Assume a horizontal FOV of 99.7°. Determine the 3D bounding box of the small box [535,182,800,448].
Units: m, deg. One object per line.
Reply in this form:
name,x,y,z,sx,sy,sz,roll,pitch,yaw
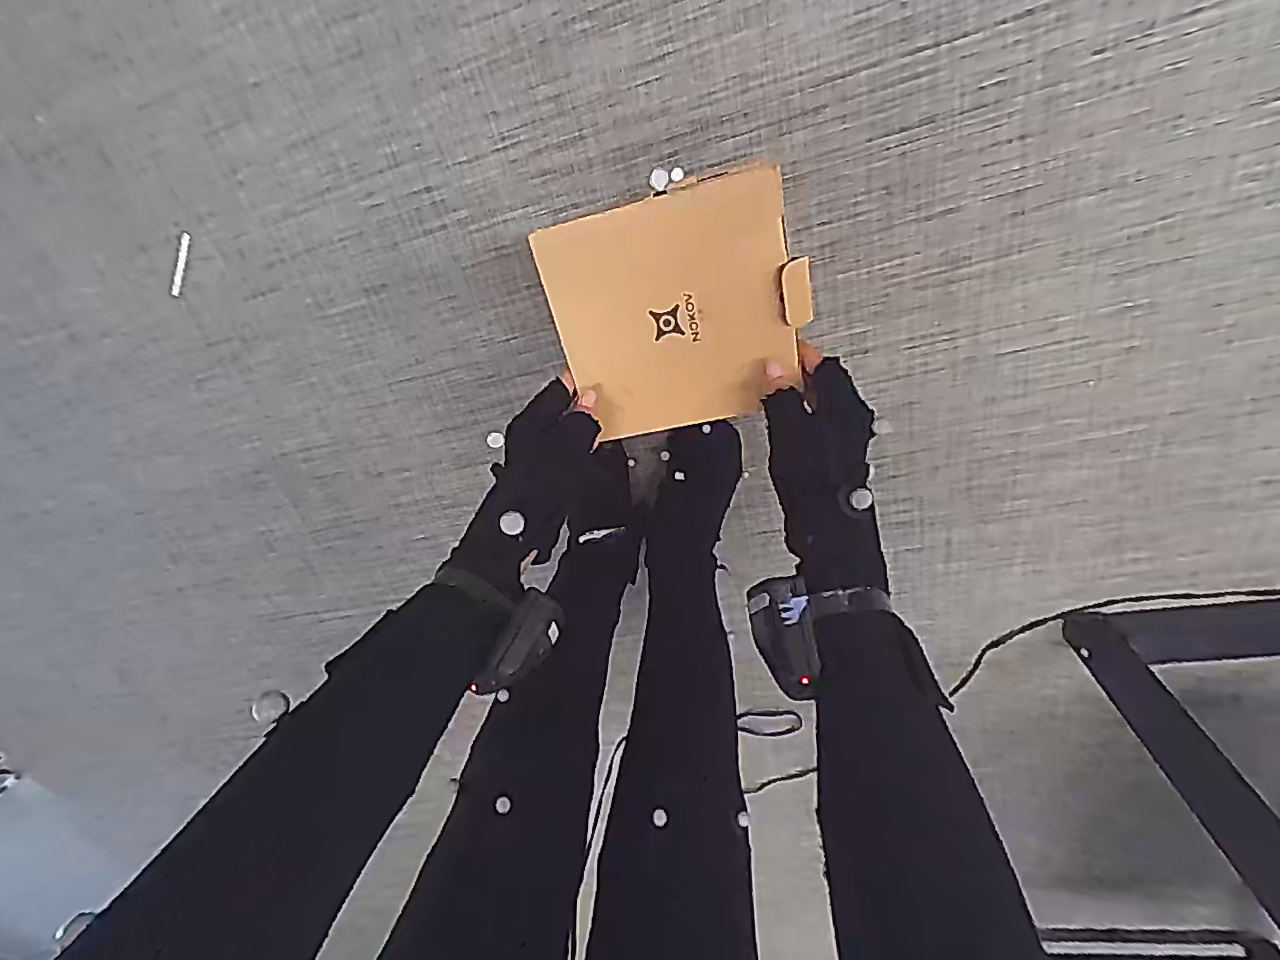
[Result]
small box,0.034,-0.147,0.478,0.179,0.176,0.168,-10,115,12
